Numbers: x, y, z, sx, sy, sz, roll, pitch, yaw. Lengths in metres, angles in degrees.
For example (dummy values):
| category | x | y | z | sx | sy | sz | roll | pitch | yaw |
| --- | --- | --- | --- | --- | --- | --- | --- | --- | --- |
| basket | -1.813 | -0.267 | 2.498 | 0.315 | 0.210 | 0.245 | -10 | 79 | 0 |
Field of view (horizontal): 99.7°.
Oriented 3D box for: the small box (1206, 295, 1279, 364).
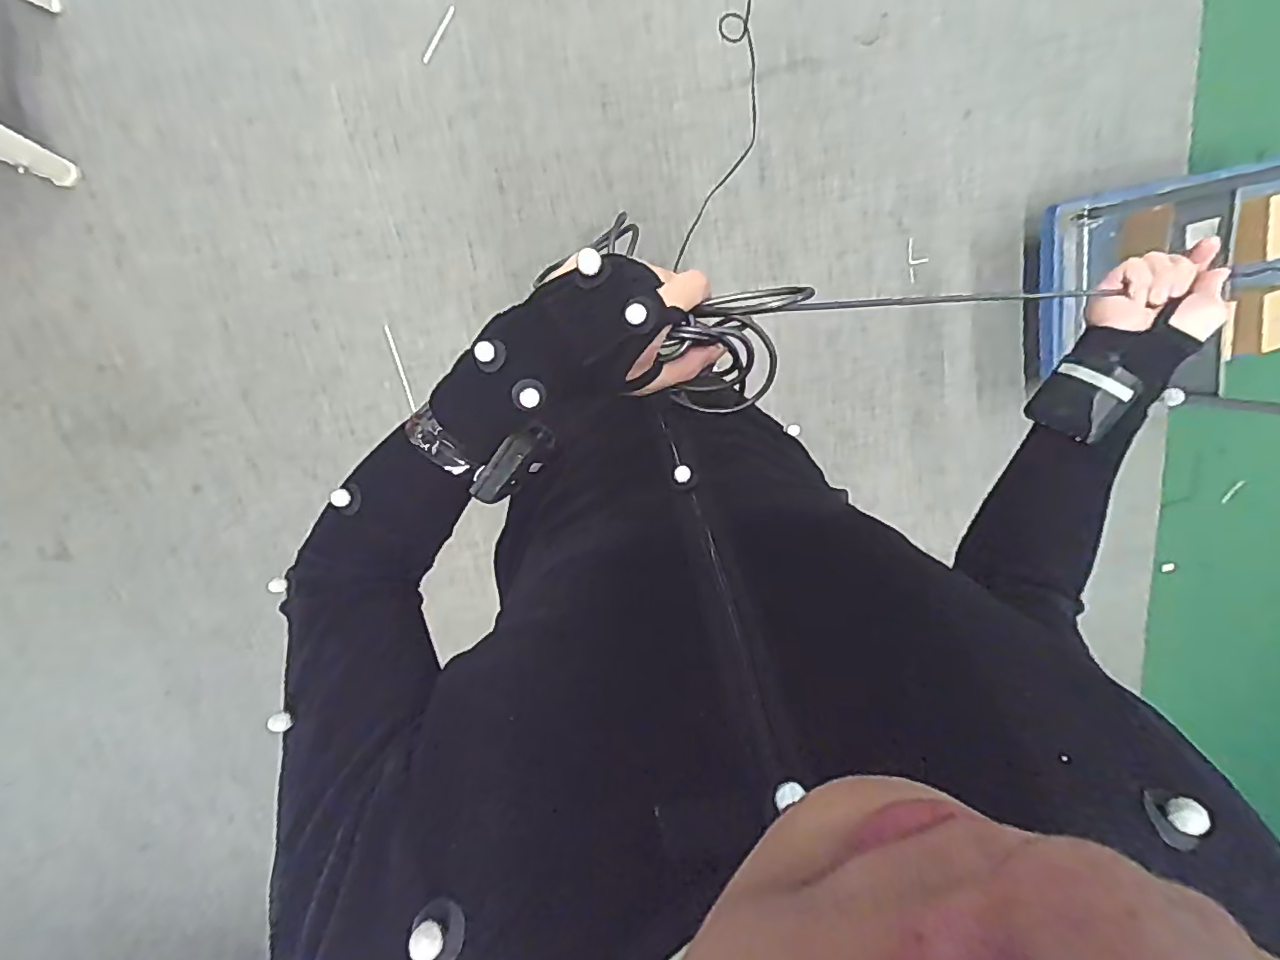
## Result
| category | x | y | z | sx | sy | sz | roll | pitch | yaw |
| --- | --- | --- | --- | --- | --- | --- | --- | --- | --- |
| small box | 1.809 | -0.441 | 1.576 | 0.179 | 0.176 | 0.168 | -17 | 104 | -5 |

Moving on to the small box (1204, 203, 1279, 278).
| category | x | y | z | sx | sy | sz | roll | pitch | yaw |
| --- | --- | --- | --- | --- | --- | --- | --- | --- | --- |
| small box | 1.742 | -0.675 | 1.511 | 0.179 | 0.176 | 0.168 | -17 | 106 | -6 |

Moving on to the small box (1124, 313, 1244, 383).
| category | x | y | z | sx | sy | sz | roll | pitch | yaw |
| --- | --- | --- | --- | --- | --- | --- | --- | --- | --- |
| small box | 1.548 | -0.379 | 1.546 | 0.179 | 0.176 | 0.168 | -12 | 105 | -6 |
